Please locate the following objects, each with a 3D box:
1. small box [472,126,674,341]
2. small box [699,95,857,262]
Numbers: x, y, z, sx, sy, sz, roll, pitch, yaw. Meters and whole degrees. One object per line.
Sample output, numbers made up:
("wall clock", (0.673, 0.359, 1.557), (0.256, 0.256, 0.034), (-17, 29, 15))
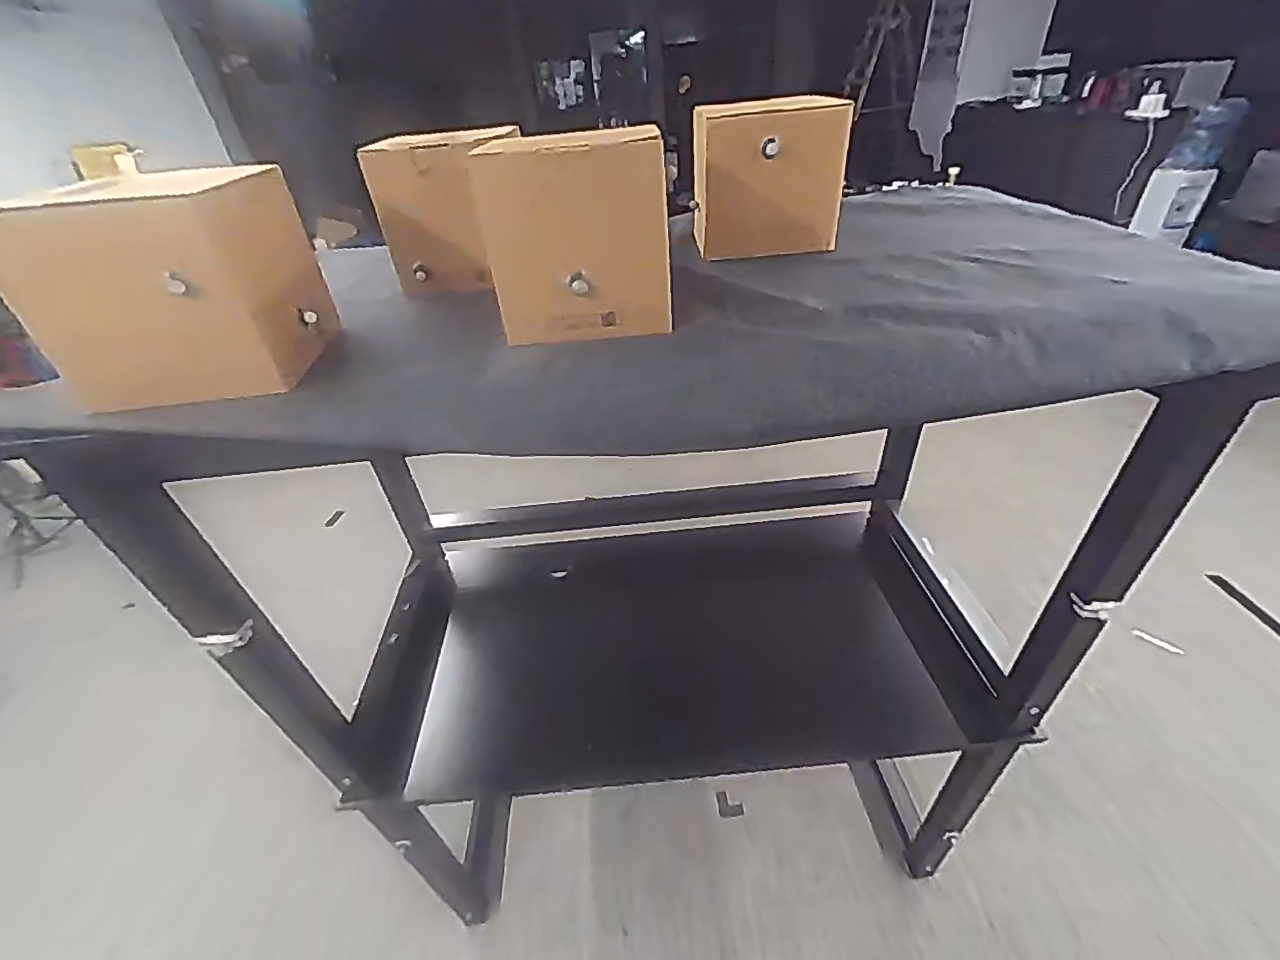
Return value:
("small box", (-0.053, -0.255, 0.558), (0.168, 0.176, 0.179), (-4, 36, 3))
("small box", (0.173, -0.412, 0.739), (0.179, 0.176, 0.168), (-4, 37, 3))
